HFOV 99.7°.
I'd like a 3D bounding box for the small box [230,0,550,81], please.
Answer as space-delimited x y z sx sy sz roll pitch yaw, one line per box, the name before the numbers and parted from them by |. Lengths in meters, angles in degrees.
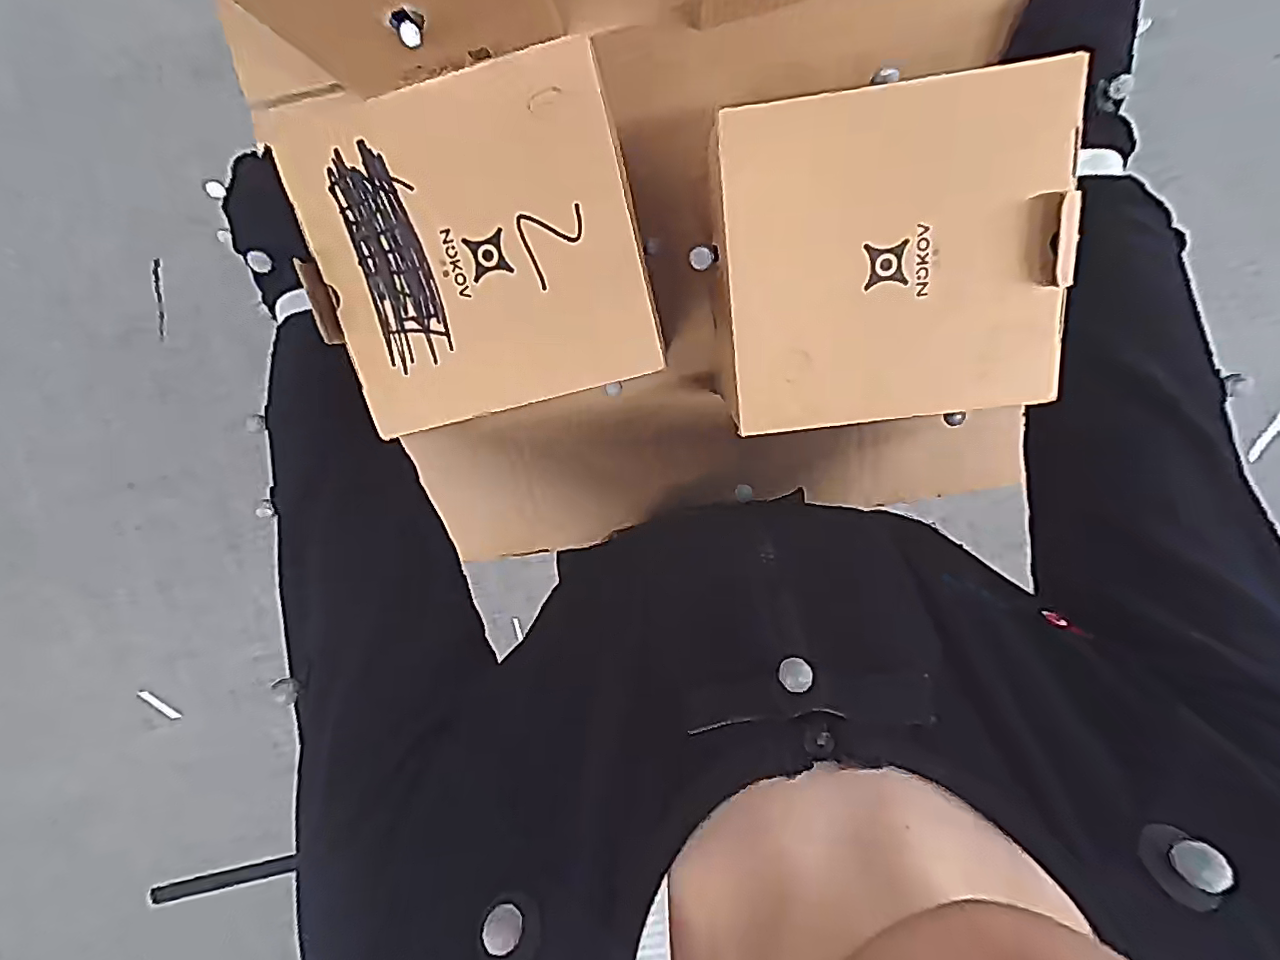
small box | -0.161 -0.371 0.315 0.168 0.176 0.179 -10 104 6
